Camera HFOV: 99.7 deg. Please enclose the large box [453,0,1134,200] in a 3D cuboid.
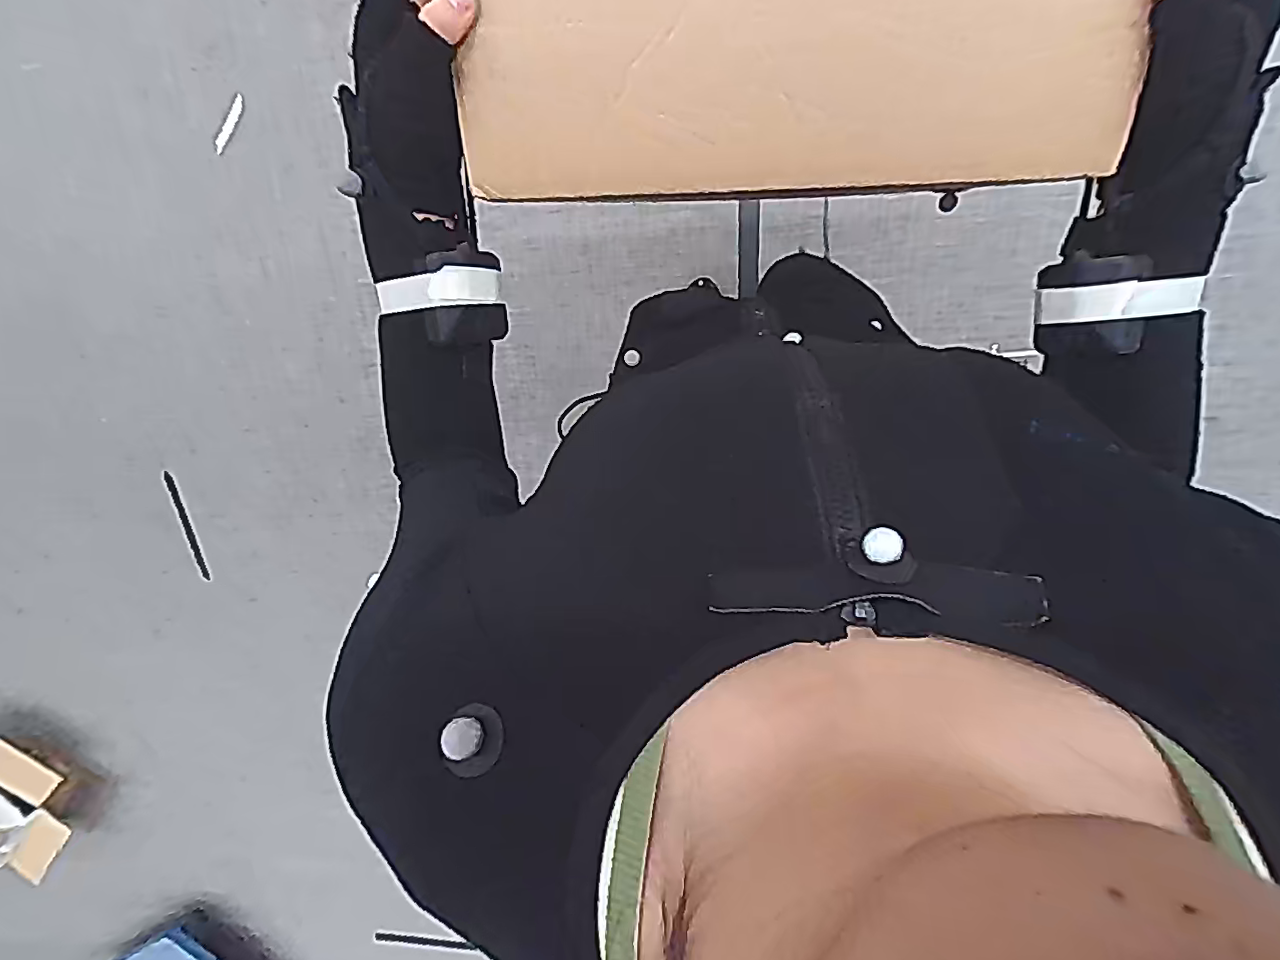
[{"bbox_3d":[0.094,-0.403,0.423,0.408,0.320,0.320,0,116,4],"label":"large box"}]
